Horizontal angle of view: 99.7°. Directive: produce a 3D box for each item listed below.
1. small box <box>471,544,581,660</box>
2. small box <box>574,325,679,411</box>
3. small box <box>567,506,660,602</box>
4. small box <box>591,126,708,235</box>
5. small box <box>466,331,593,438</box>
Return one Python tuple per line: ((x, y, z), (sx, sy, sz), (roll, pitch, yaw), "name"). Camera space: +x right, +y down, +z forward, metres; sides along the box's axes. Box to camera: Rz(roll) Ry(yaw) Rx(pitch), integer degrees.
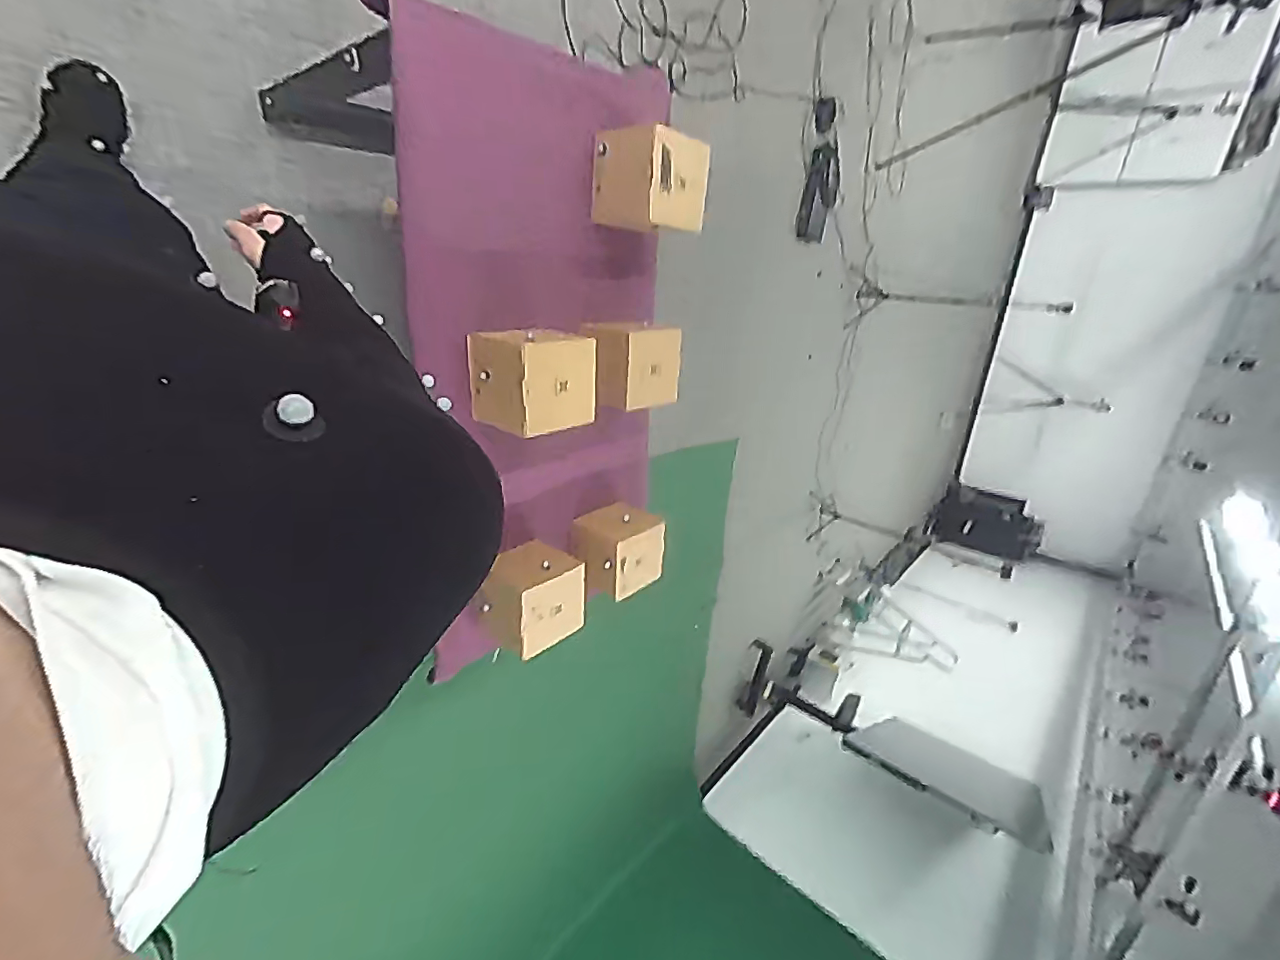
((-0.251, 0.258, 1.198), (0.179, 0.176, 0.168), (-18, 118, -47), "small box")
((-0.035, -0.263, 1.235), (0.179, 0.176, 0.168), (-18, 119, -45), "small box")
((-0.070, 0.181, 1.393), (0.179, 0.176, 0.168), (-20, 120, -45), "small box")
((0.015, -0.612, 1.127), (0.179, 0.176, 0.168), (-16, 119, -46), "small box")
((-0.212, -0.193, 1.046), (0.179, 0.176, 0.168), (-20, 122, -45), "small box")
